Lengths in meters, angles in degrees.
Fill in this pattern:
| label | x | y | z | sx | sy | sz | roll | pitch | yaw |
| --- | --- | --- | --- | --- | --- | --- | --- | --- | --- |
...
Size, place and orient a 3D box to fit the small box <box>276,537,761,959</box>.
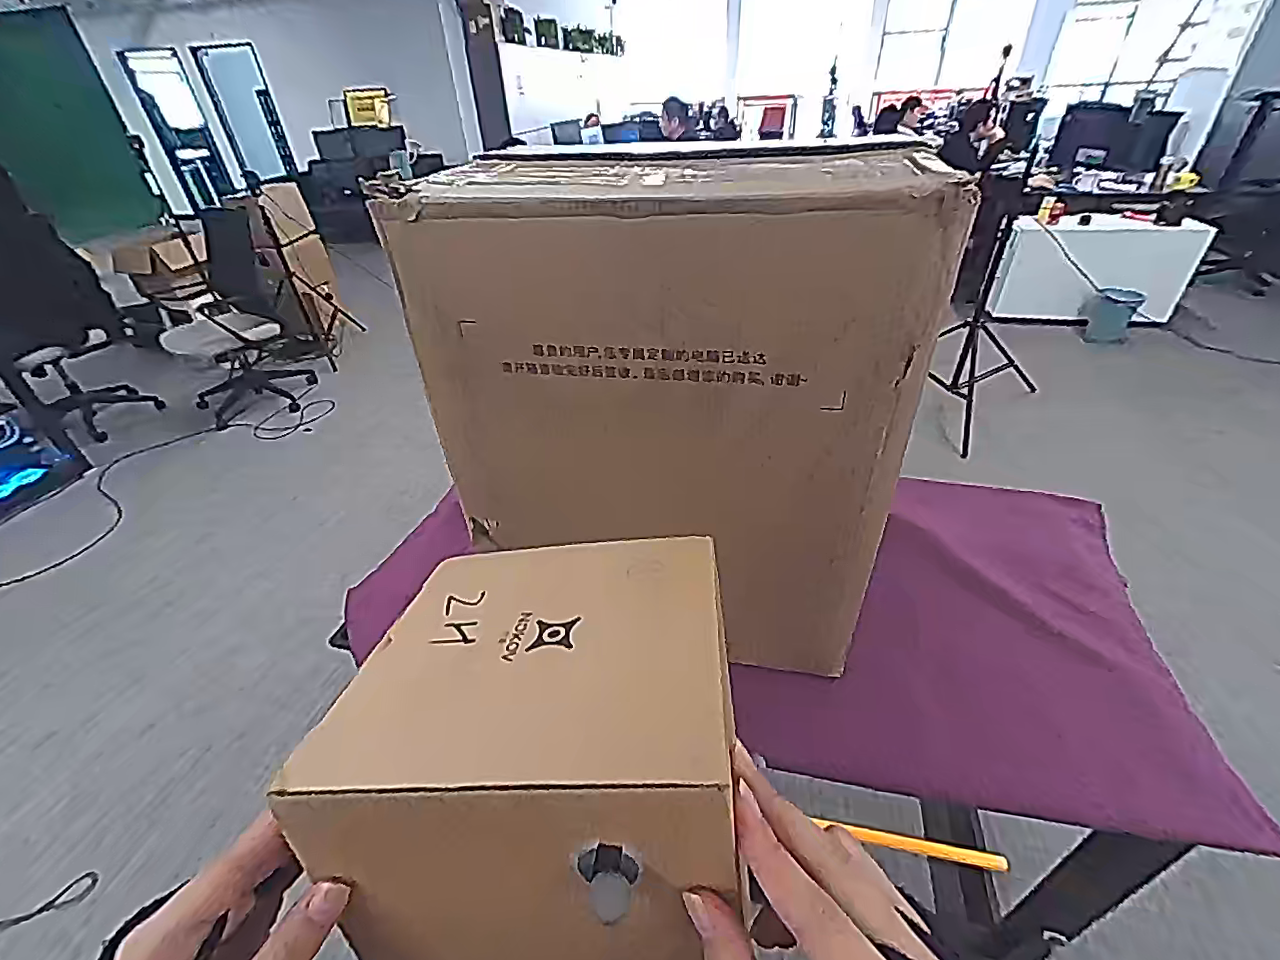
| label | x | y | z | sx | sy | sz | roll | pitch | yaw |
| --- | --- | --- | --- | --- | --- | --- | --- | --- | --- |
| small box | -0.031 | 0.149 | 0.290 | 0.179 | 0.176 | 0.168 | -7 | 22 | 8 |
